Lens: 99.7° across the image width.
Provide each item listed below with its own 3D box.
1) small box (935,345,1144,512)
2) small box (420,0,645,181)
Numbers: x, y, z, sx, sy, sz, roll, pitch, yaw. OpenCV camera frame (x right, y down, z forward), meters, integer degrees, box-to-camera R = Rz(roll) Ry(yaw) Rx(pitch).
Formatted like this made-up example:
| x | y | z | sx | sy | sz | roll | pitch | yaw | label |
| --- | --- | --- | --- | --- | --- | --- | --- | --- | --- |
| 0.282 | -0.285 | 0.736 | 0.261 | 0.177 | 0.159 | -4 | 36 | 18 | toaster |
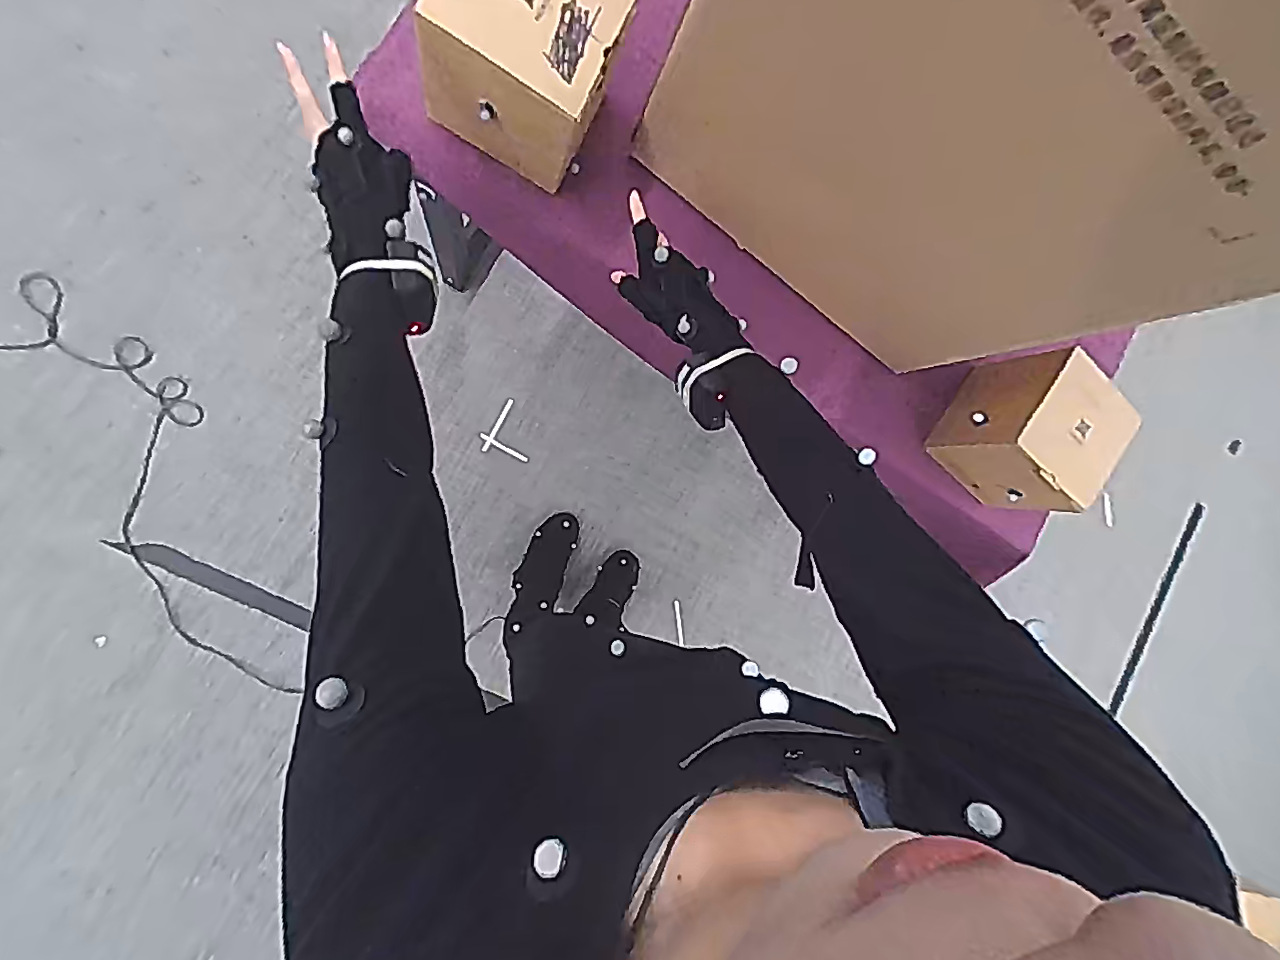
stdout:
| x | y | z | sx | sy | sz | roll | pitch | yaw | label |
| --- | --- | --- | --- | --- | --- | --- | --- | --- | --- |
| 0.592 | -0.072 | 0.825 | 0.168 | 0.176 | 0.179 | 38 | 81 | -13 | small box |
| -0.123 | -0.481 | 0.616 | 0.179 | 0.176 | 0.168 | 26 | 84 | -15 | small box |
